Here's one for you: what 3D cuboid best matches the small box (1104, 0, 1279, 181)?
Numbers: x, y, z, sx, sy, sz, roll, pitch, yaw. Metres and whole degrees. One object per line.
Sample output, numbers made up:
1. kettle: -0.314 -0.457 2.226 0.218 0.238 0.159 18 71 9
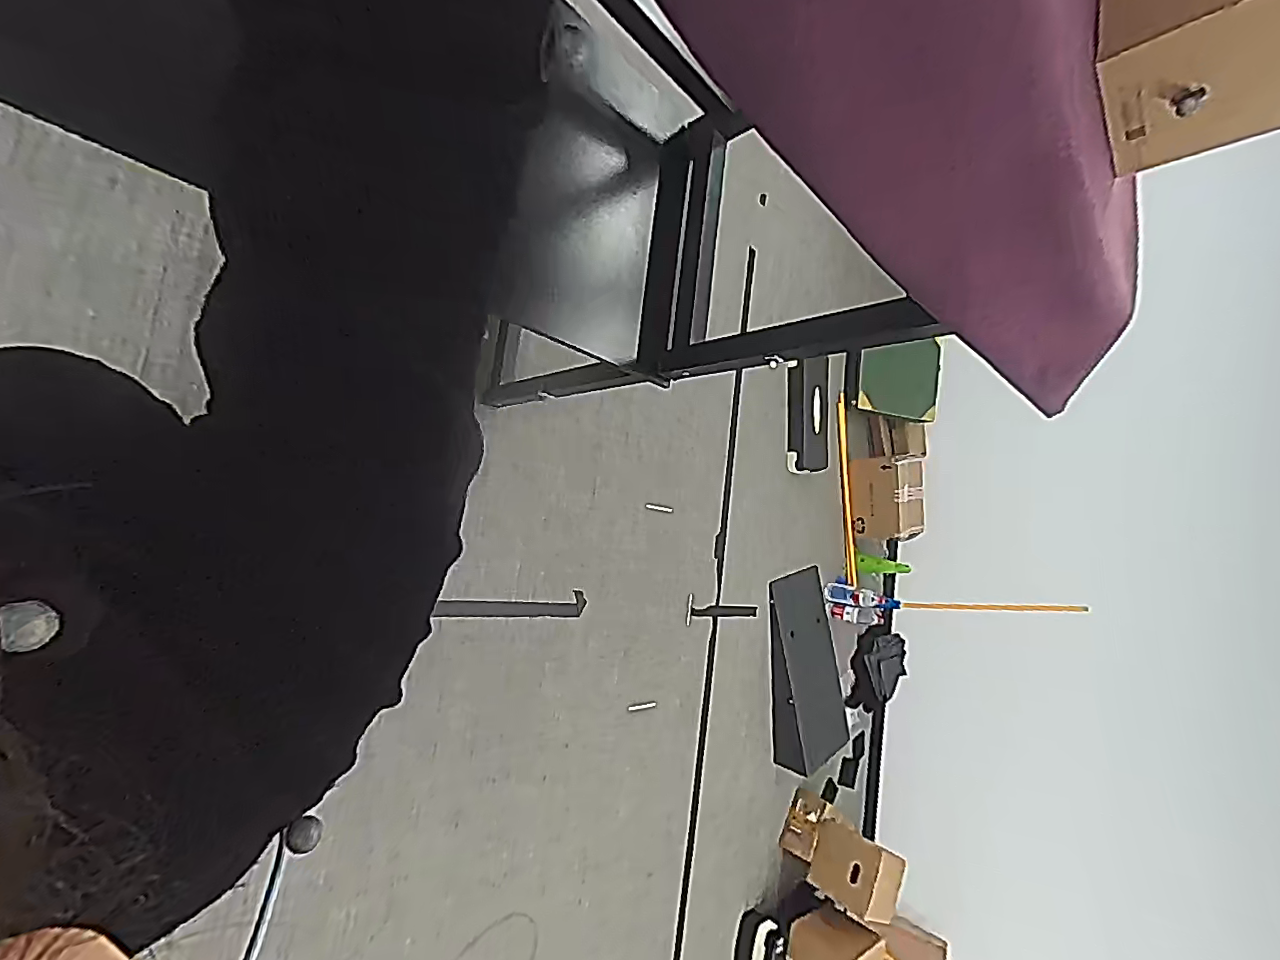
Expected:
1. small box: 0.518 -0.408 0.467 0.168 0.176 0.179 18 78 -42
